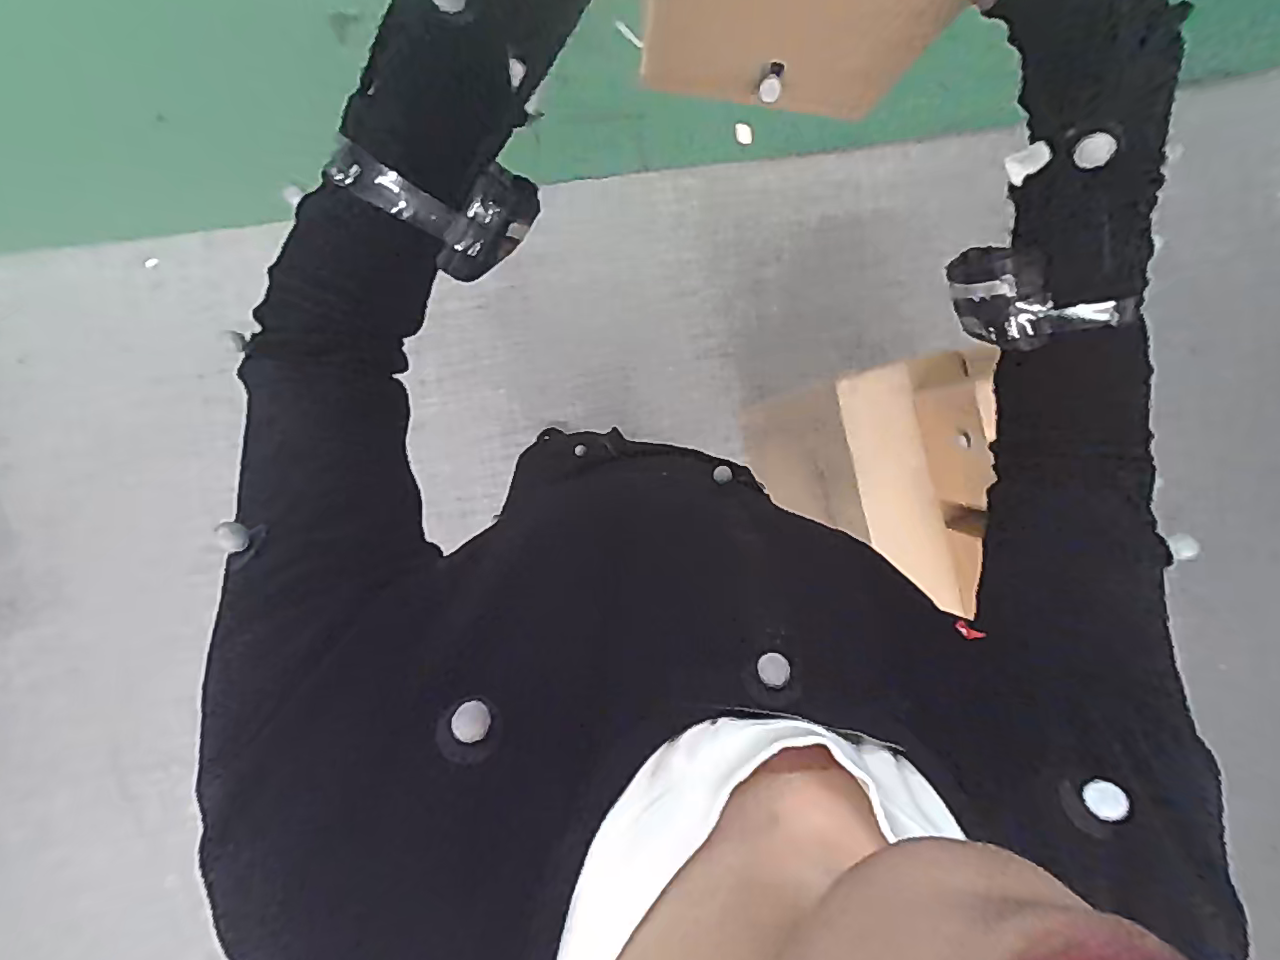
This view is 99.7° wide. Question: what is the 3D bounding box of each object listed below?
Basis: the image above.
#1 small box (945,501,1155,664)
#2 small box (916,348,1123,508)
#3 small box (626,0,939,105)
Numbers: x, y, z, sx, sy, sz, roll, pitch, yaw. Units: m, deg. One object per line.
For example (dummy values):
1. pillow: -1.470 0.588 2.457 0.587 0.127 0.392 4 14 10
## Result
1. small box: 0.580 0.135 0.789 0.168 0.176 0.179 -17 95 4
2. small box: 0.524 -0.071 0.773 0.168 0.176 0.179 -15 94 3
3. small box: 0.093 -0.362 0.322 0.179 0.176 0.168 4 95 -8
